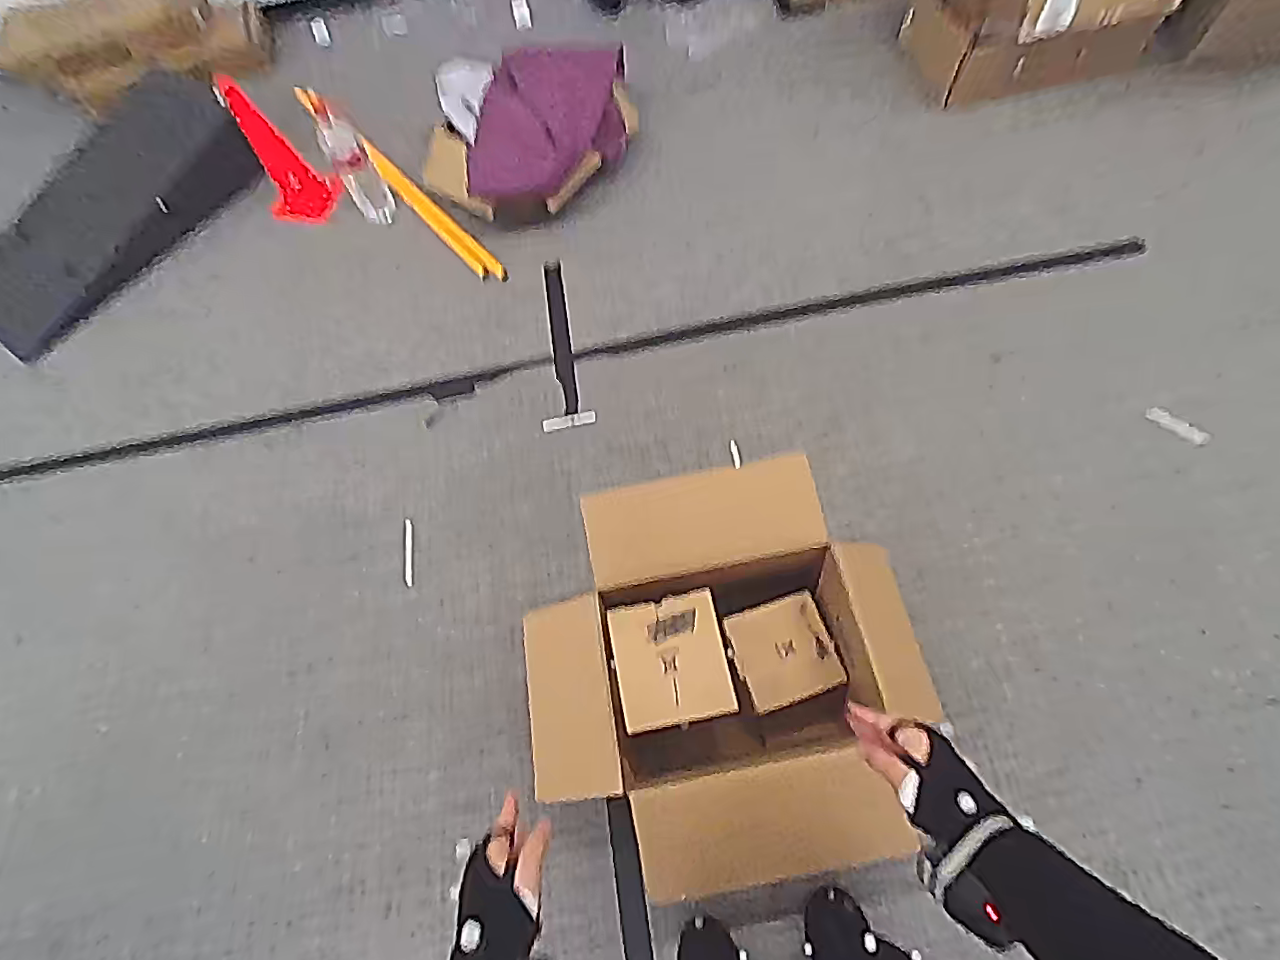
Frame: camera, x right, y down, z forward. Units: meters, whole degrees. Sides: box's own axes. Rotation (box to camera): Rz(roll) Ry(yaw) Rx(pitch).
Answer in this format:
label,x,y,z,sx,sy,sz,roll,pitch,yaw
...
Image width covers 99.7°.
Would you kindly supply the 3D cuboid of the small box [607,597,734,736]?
label,x,y,z,sx,sy,sz,roll,pitch,yaw
small box,0.051,0.306,0.886,0.168,0.176,0.179,-13,68,3
